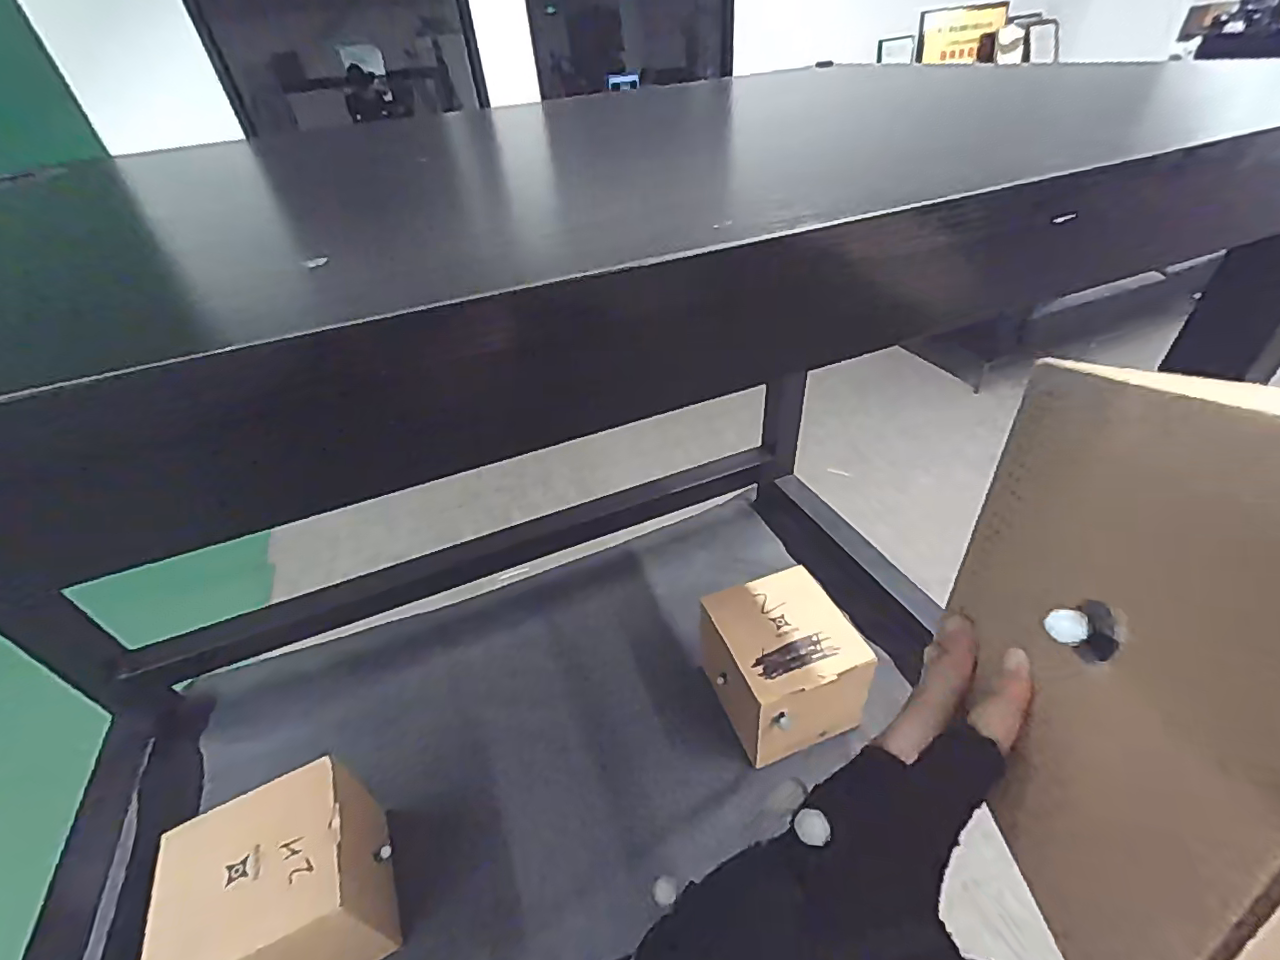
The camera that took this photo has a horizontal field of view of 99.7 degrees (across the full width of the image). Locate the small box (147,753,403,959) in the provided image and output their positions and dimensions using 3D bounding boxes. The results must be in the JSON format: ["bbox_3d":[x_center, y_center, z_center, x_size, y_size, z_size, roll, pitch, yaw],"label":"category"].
[{"bbox_3d":[-0.393,0.457,0.606,0.179,0.176,0.168,-21,42,-18],"label":"small box"}]
